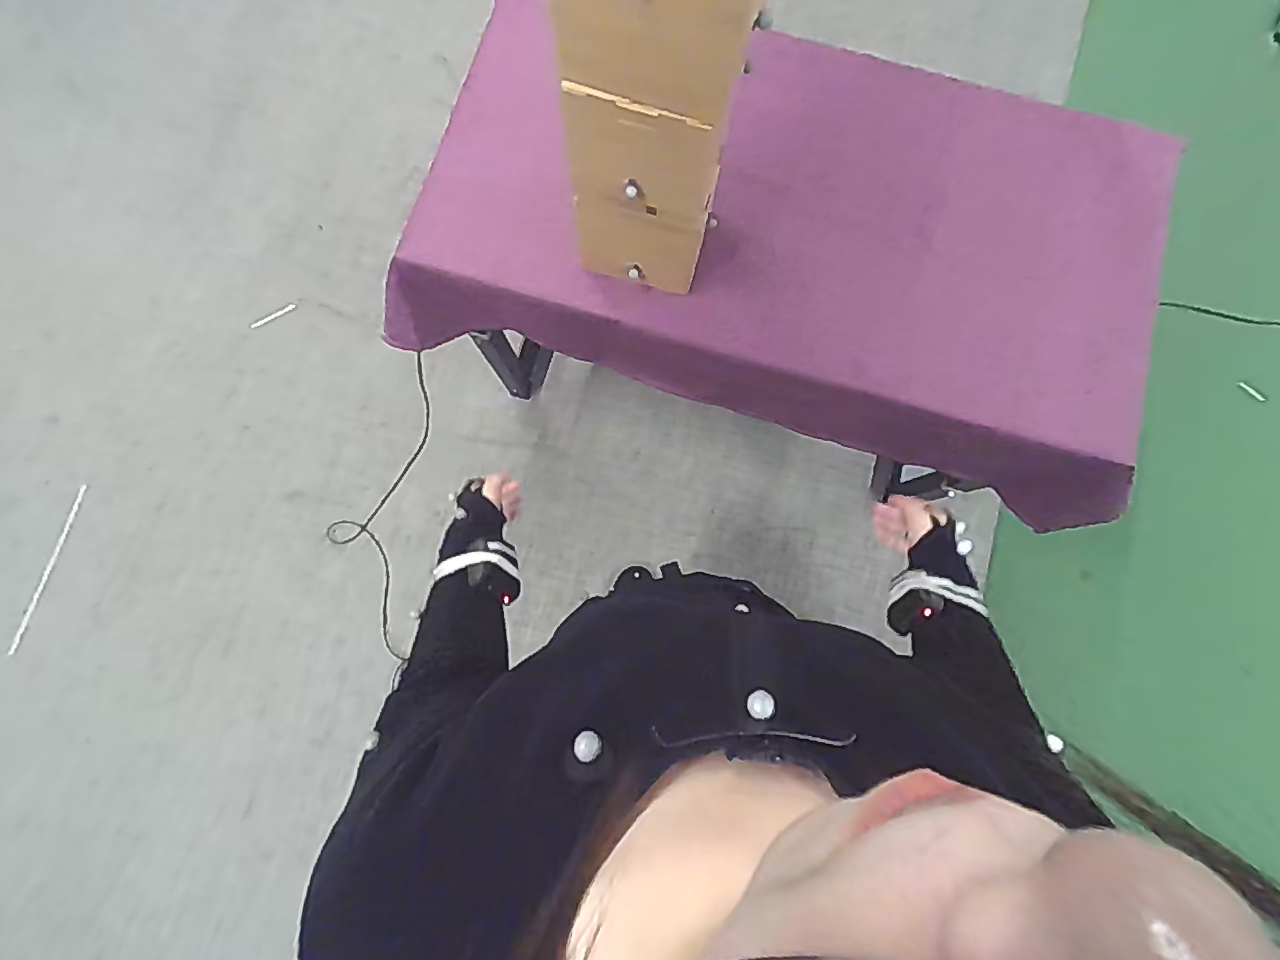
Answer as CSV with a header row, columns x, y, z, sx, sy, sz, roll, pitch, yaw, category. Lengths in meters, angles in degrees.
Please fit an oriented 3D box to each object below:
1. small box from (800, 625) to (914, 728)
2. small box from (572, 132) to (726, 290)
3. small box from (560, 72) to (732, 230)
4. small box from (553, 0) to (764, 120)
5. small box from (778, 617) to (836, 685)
x,y,z,sx,sy,sz,roll,pitch,yaw,category
0.491,0.443,1.248,0.179,0.176,0.168,18,82,1,small box
0.011,-0.408,0.804,0.179,0.176,0.168,15,80,1,small box
0.016,-0.440,0.642,0.168,0.176,0.179,16,81,2,small box
0.025,-0.468,0.480,0.179,0.176,0.168,18,80,1,small box
0.479,0.465,1.409,0.179,0.176,0.168,20,81,1,small box
